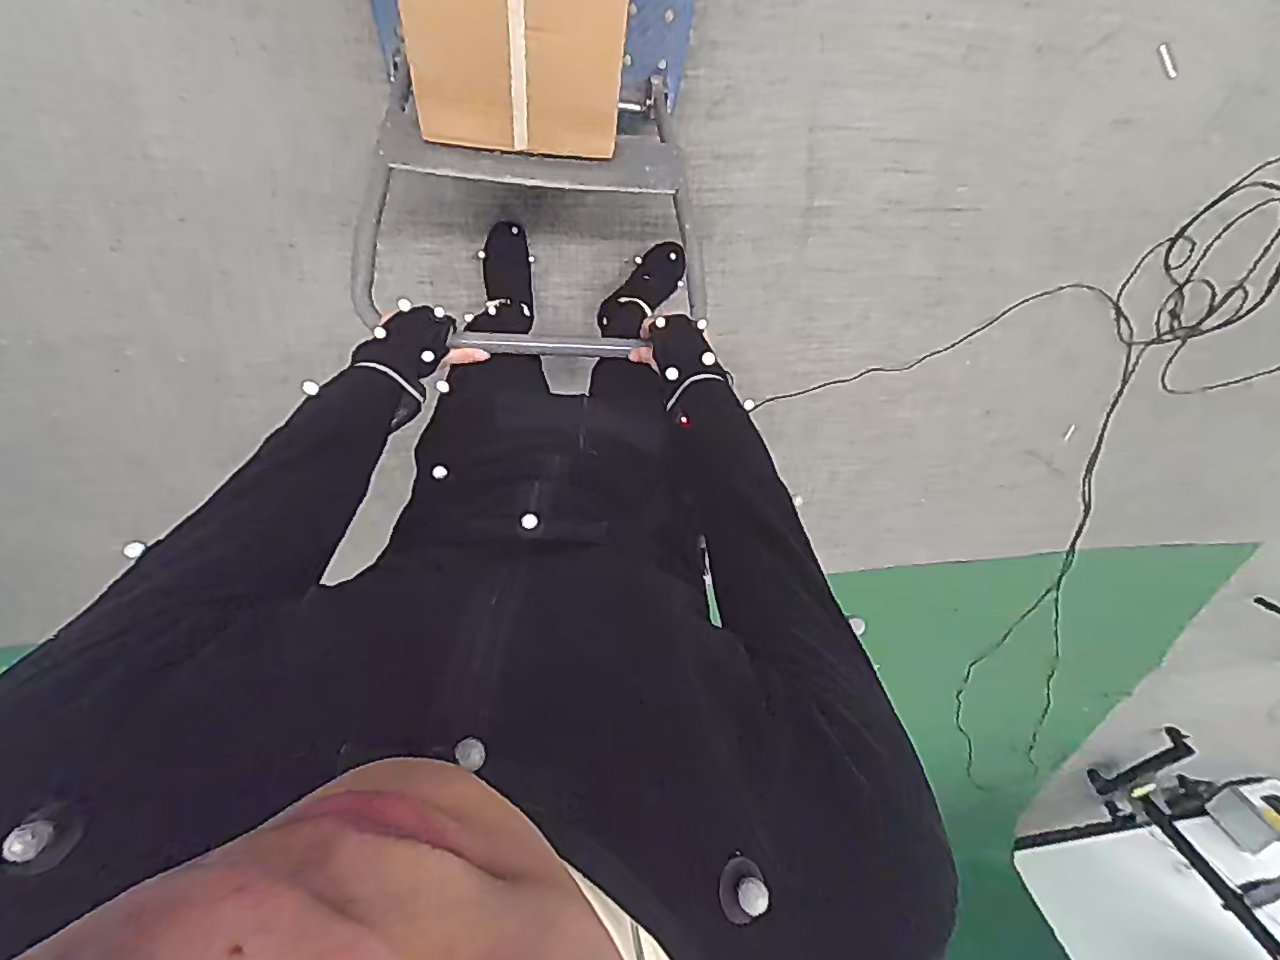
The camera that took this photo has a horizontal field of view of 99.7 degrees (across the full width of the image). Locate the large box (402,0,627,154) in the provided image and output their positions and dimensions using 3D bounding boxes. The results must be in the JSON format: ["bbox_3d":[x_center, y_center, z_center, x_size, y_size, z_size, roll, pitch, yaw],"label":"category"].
[{"bbox_3d":[-0.184,-0.790,0.827,0.320,0.320,0.408,-1,145,-10],"label":"large box"}]
